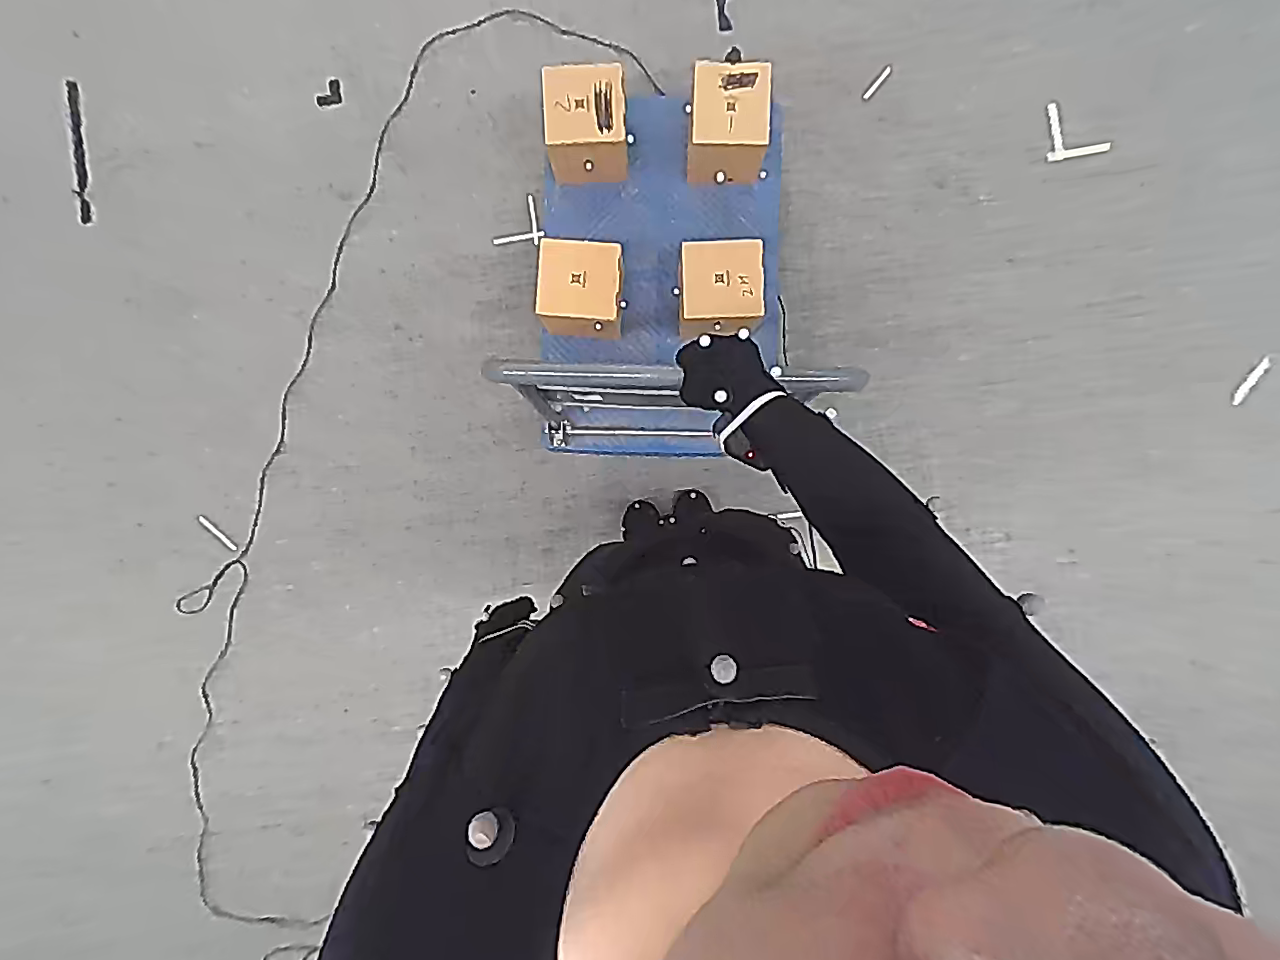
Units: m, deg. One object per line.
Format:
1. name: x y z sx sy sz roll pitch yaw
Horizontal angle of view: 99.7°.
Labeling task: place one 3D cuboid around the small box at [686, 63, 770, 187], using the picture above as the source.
1. small box: 0.194 -0.800 1.231 0.168 0.176 0.179 1 92 1

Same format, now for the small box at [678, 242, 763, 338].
1. small box: 0.178 -0.426 1.236 0.179 0.176 0.168 -2 91 1

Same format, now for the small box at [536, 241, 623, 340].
1. small box: -0.132 -0.426 1.239 0.179 0.176 0.168 3 90 -1
